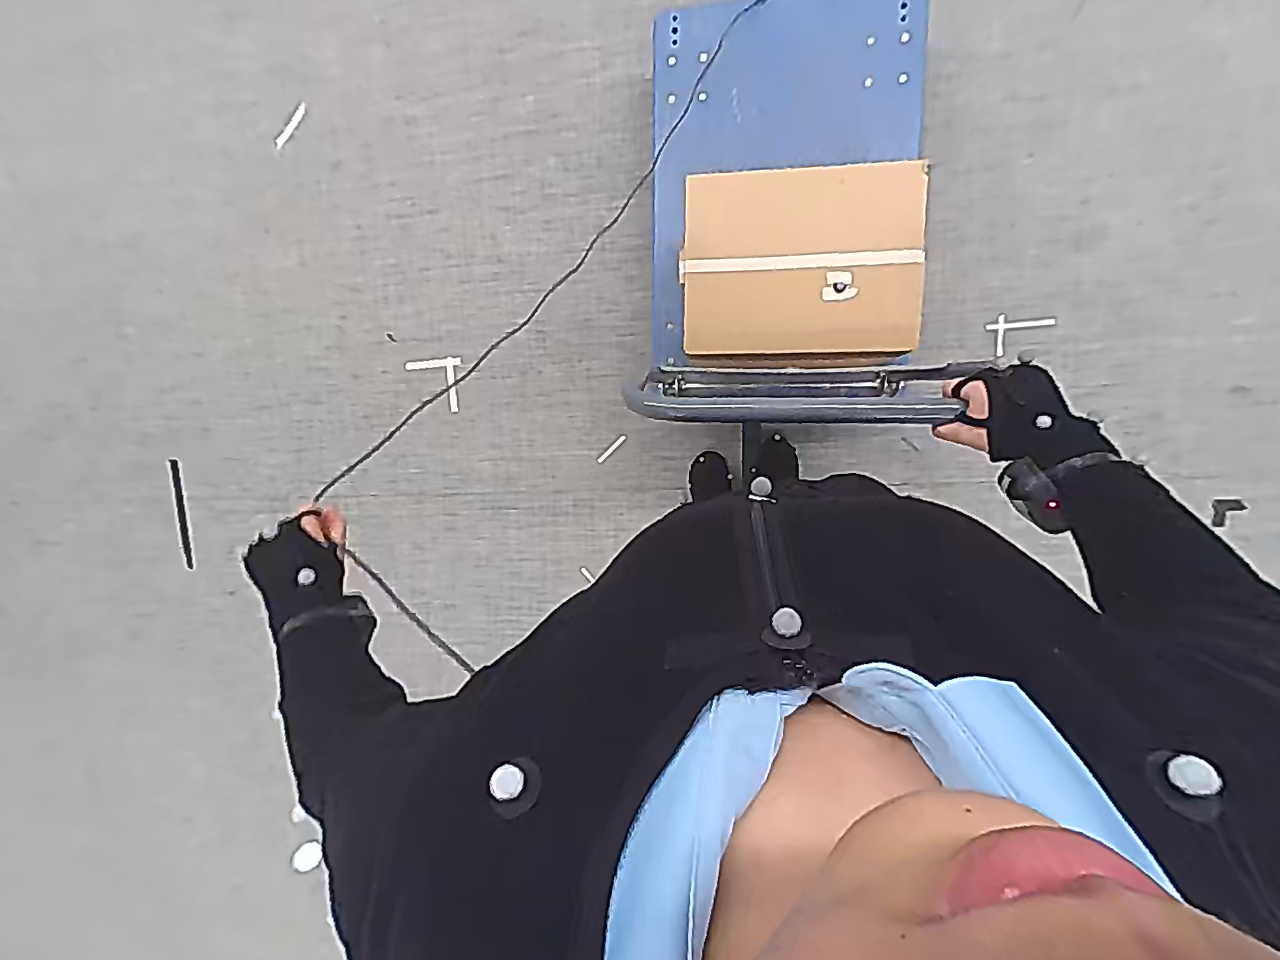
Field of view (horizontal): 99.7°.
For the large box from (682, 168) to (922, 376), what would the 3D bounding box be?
[{"bbox_3d":[0.293,-0.381,1.085,0.408,0.320,0.320,1,98,8],"label":"large box"}]
